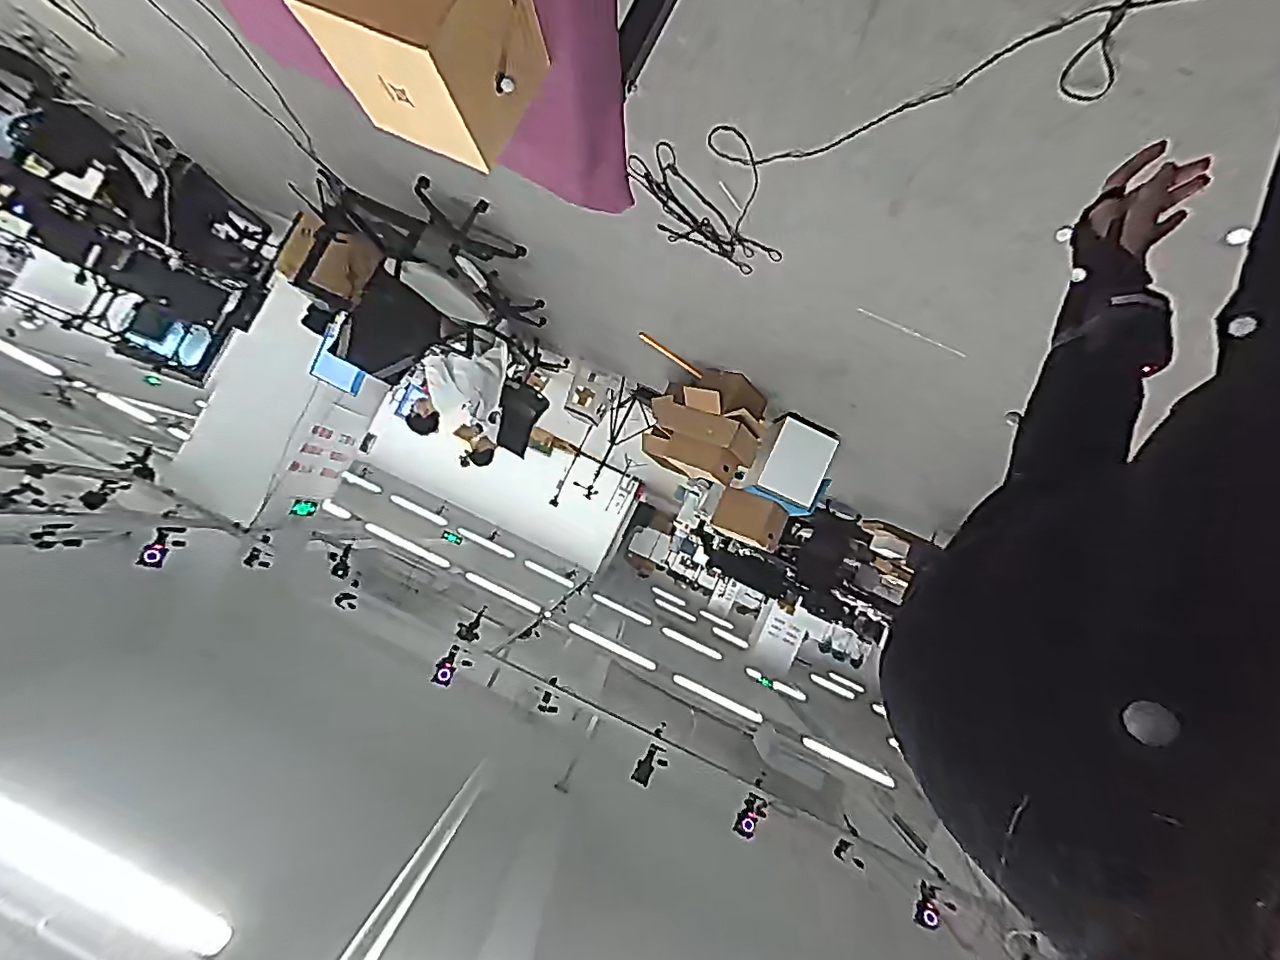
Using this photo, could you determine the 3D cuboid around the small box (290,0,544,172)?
[{"bbox_3d":[-0.225,-0.495,0.599,0.179,0.176,0.168,26,175,9],"label":"small box"}]
